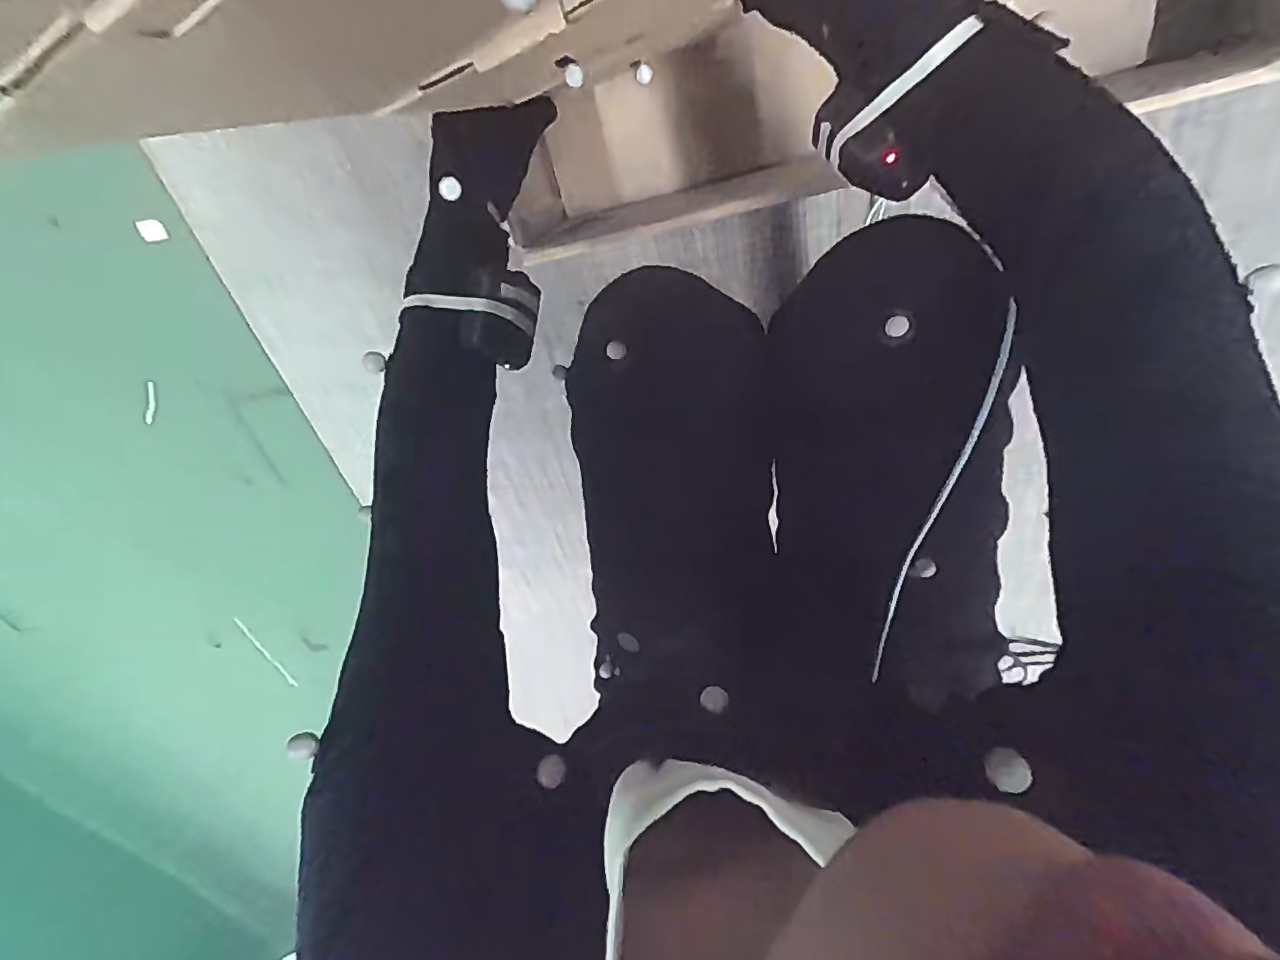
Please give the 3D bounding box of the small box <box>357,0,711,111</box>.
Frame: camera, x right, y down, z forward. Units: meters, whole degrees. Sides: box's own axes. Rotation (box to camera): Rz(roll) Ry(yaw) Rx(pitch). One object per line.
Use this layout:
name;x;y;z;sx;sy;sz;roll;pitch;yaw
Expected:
small box;-0.061;-0.292;0.233;0.168;0.176;0.179;-9;126;20

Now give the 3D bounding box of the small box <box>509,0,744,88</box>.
small box;-0.029;-0.391;0.358;0.168;0.176;0.179;-8;126;20

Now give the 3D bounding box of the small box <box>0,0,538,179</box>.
small box;-0.096;-0.195;0.107;0.168;0.176;0.179;-11;125;21
